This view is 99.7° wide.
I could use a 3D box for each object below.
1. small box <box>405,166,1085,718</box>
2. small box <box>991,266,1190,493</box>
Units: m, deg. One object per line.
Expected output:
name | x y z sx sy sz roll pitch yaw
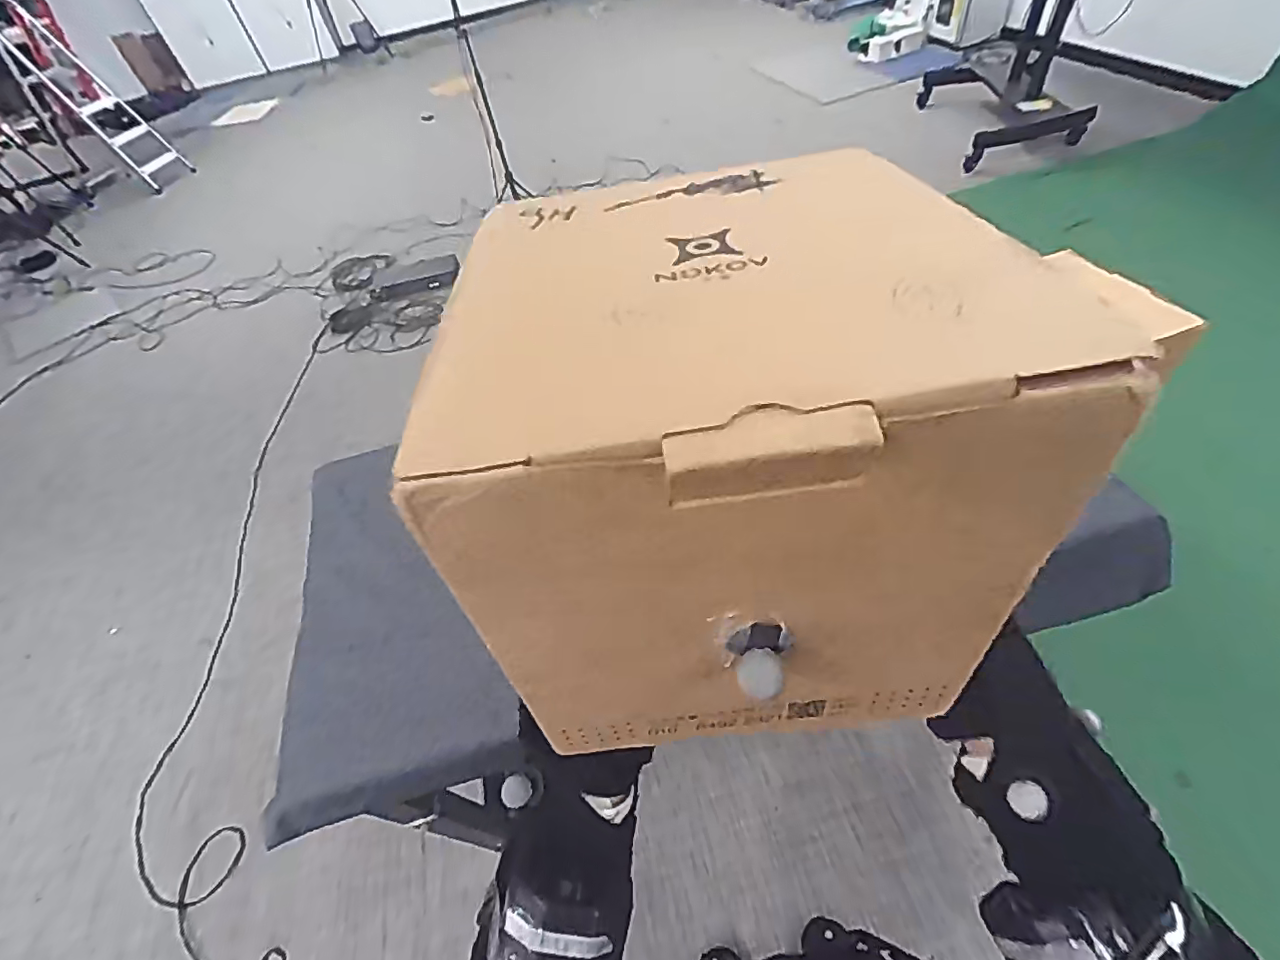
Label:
small box | 0.028 -0.011 0.241 0.168 0.176 0.179 -7 44 2
small box | 0.434 -0.110 0.619 0.179 0.176 0.168 -19 48 -4
